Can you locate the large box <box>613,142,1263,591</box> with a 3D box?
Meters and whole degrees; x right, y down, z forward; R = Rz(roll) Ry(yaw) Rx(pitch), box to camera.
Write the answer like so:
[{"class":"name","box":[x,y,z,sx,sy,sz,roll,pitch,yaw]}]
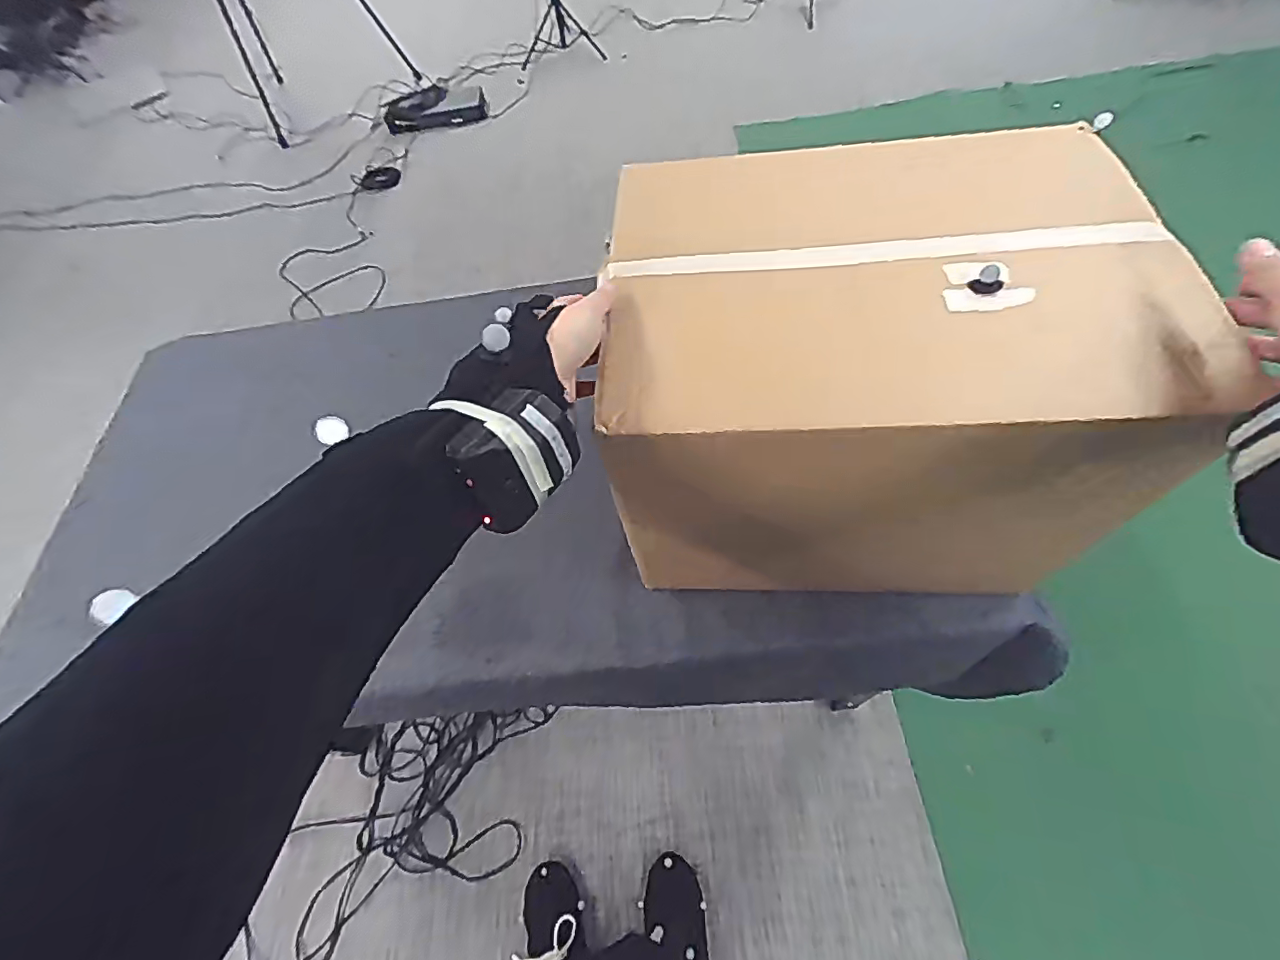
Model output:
[{"class":"large box","box":[0.195,-0.087,0.544,0.408,0.320,0.320,-1,60,6]}]
